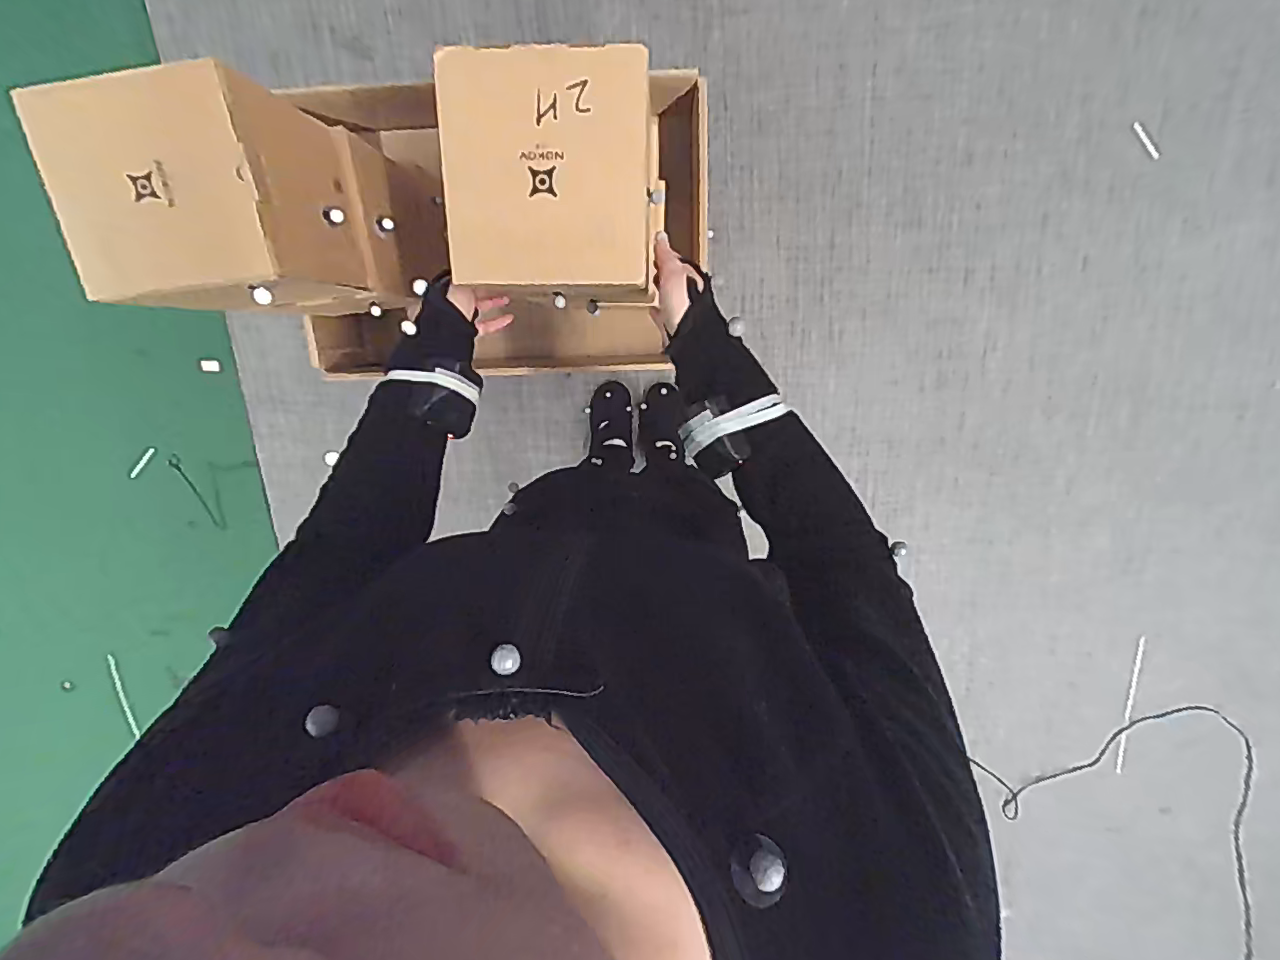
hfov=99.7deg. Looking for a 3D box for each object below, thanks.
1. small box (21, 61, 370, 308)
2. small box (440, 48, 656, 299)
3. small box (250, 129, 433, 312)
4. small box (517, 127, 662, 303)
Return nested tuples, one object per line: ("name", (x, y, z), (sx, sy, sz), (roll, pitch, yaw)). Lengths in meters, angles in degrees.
("small box", (-0.403, -0.265, 0.528), (0.179, 0.176, 0.168), (-7, 105, 2))
("small box", (-0.071, -0.266, 0.510), (0.168, 0.176, 0.179), (1, 105, 2))
("small box", (-0.383, -0.309, 0.683), (0.168, 0.176, 0.179), (-5, 105, 3))
("small box", (-0.058, -0.313, 0.669), (0.168, 0.176, 0.179), (1, 107, 1))
